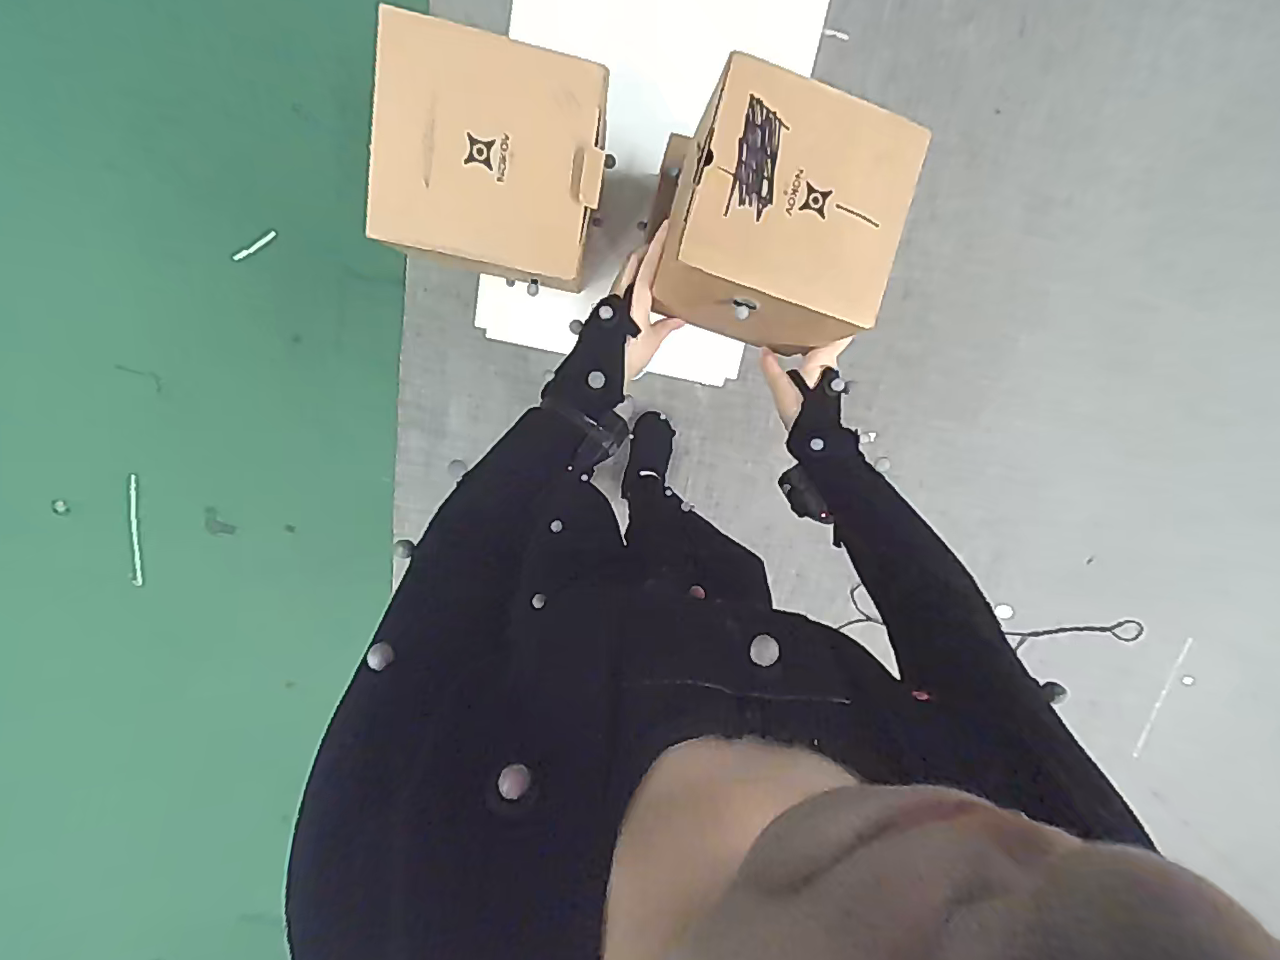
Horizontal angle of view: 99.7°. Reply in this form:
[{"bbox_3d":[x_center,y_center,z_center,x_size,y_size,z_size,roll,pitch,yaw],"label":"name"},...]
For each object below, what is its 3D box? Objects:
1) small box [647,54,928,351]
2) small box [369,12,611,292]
[{"bbox_3d":[0.117,-0.230,0.504,0.179,0.176,0.168,16,93,-11],"label":"small box"},{"bbox_3d":[-0.129,-0.280,0.511,0.179,0.176,0.168,9,104,-7],"label":"small box"}]
